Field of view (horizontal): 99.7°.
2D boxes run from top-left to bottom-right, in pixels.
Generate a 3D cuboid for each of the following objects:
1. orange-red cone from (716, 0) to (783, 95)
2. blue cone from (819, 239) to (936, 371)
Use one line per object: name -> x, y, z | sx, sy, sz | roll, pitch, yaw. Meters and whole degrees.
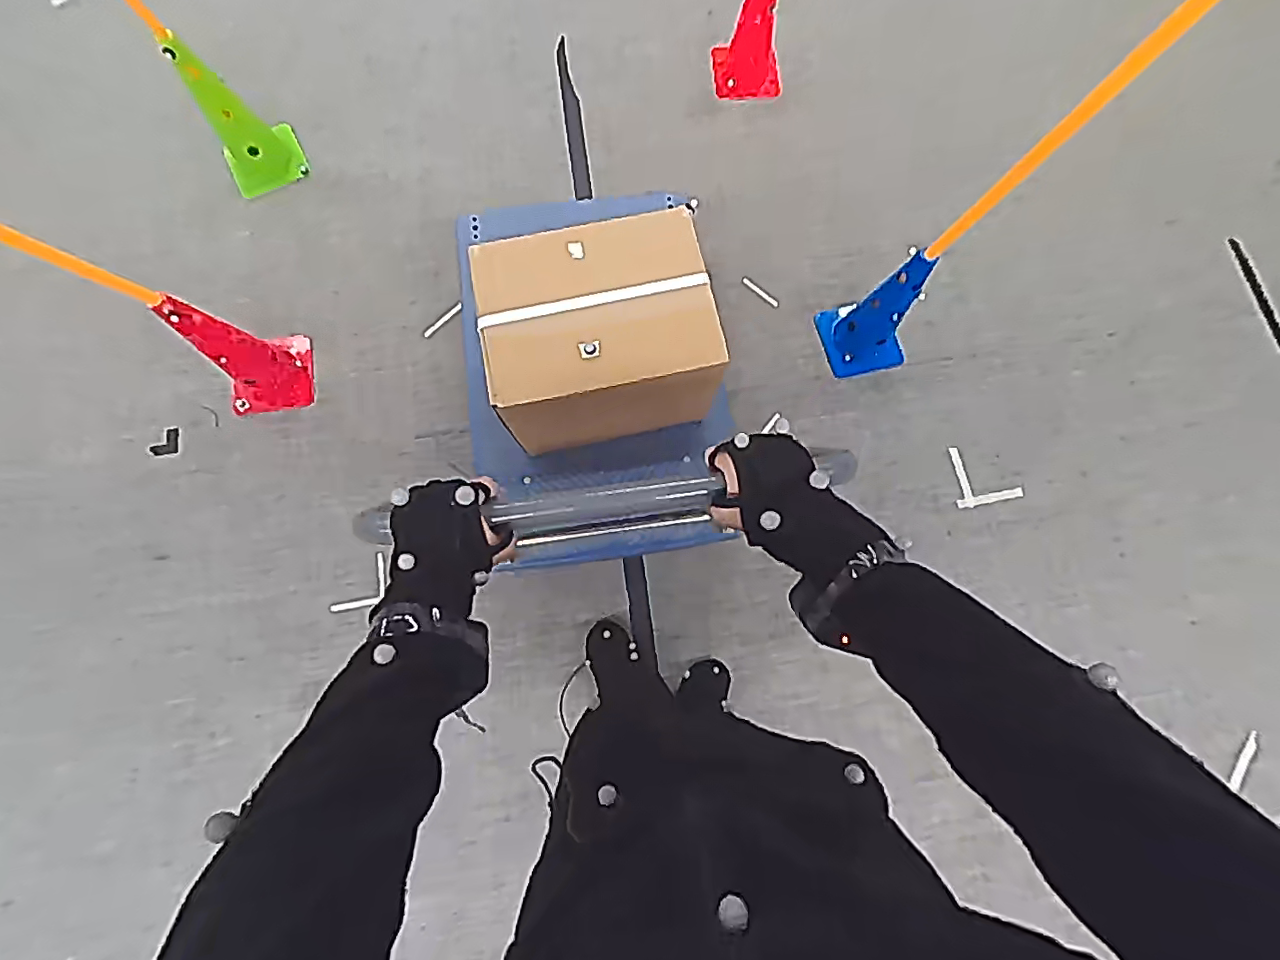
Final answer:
orange-red cone -> 0.335, -1.284, 1.468 | 0.199, 0.360, 0.198 | -1, 78, -2
blue cone -> 0.595, -0.428, 1.293 | 0.193, 0.380, 0.192 | -12, 76, -4
